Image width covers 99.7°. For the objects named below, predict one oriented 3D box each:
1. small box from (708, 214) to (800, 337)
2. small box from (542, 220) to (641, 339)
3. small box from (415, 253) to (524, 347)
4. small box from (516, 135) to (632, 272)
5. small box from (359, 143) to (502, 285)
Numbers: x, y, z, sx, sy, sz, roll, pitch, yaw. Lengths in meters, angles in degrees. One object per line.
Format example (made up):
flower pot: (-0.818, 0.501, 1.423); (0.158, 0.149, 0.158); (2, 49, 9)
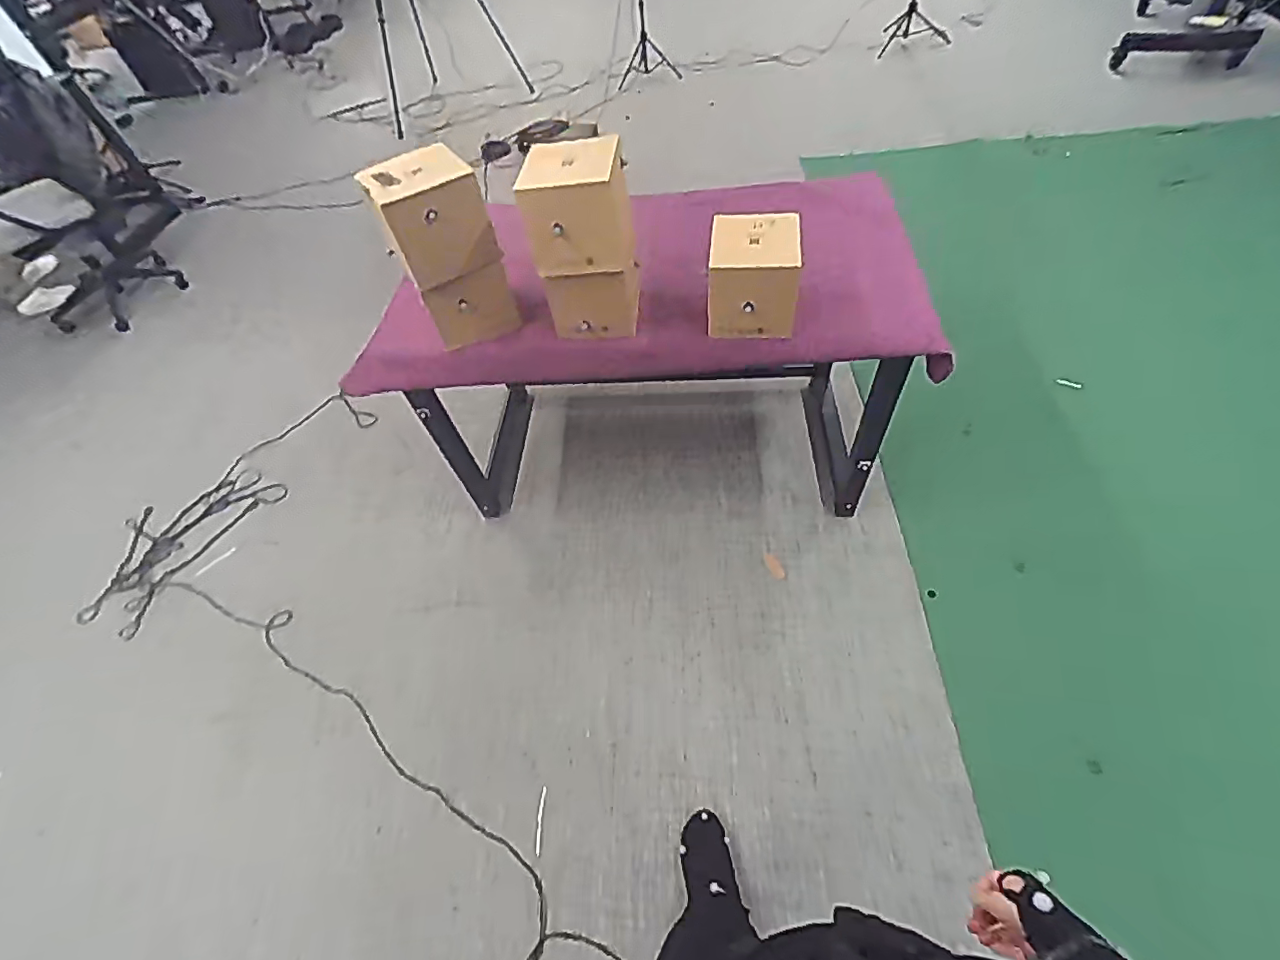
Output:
small box: (0.226, -0.404, 1.081); (0.168, 0.176, 0.179); (4, 55, 10)
small box: (-0.092, -0.418, 1.135); (0.168, 0.176, 0.179); (-1, 54, 8)
small box: (-0.371, -0.417, 1.169); (0.179, 0.176, 0.168); (-21, 54, -8)
small box: (-0.110, -0.500, 0.995); (0.168, 0.176, 0.179); (-1, 53, 8)
small box: (-0.391, -0.501, 1.028); (0.179, 0.176, 0.168); (-30, 56, -16)
